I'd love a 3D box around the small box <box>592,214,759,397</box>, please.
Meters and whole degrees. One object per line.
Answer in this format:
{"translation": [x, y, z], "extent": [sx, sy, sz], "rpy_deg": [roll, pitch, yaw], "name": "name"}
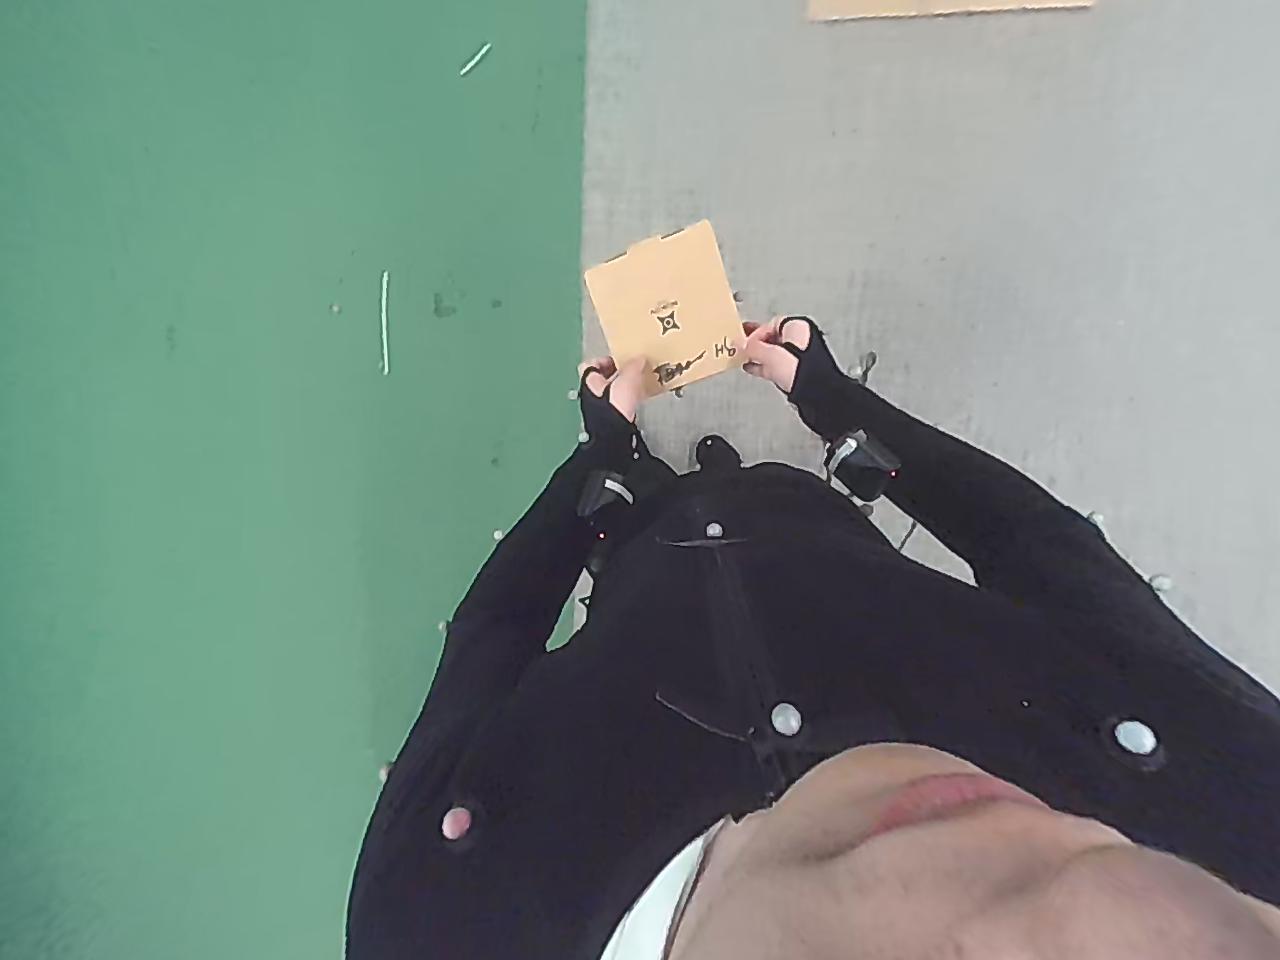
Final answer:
{"translation": [0.056, -0.223, 0.729], "extent": [0.168, 0.176, 0.179], "rpy_deg": [-16, 100, 15], "name": "small box"}
